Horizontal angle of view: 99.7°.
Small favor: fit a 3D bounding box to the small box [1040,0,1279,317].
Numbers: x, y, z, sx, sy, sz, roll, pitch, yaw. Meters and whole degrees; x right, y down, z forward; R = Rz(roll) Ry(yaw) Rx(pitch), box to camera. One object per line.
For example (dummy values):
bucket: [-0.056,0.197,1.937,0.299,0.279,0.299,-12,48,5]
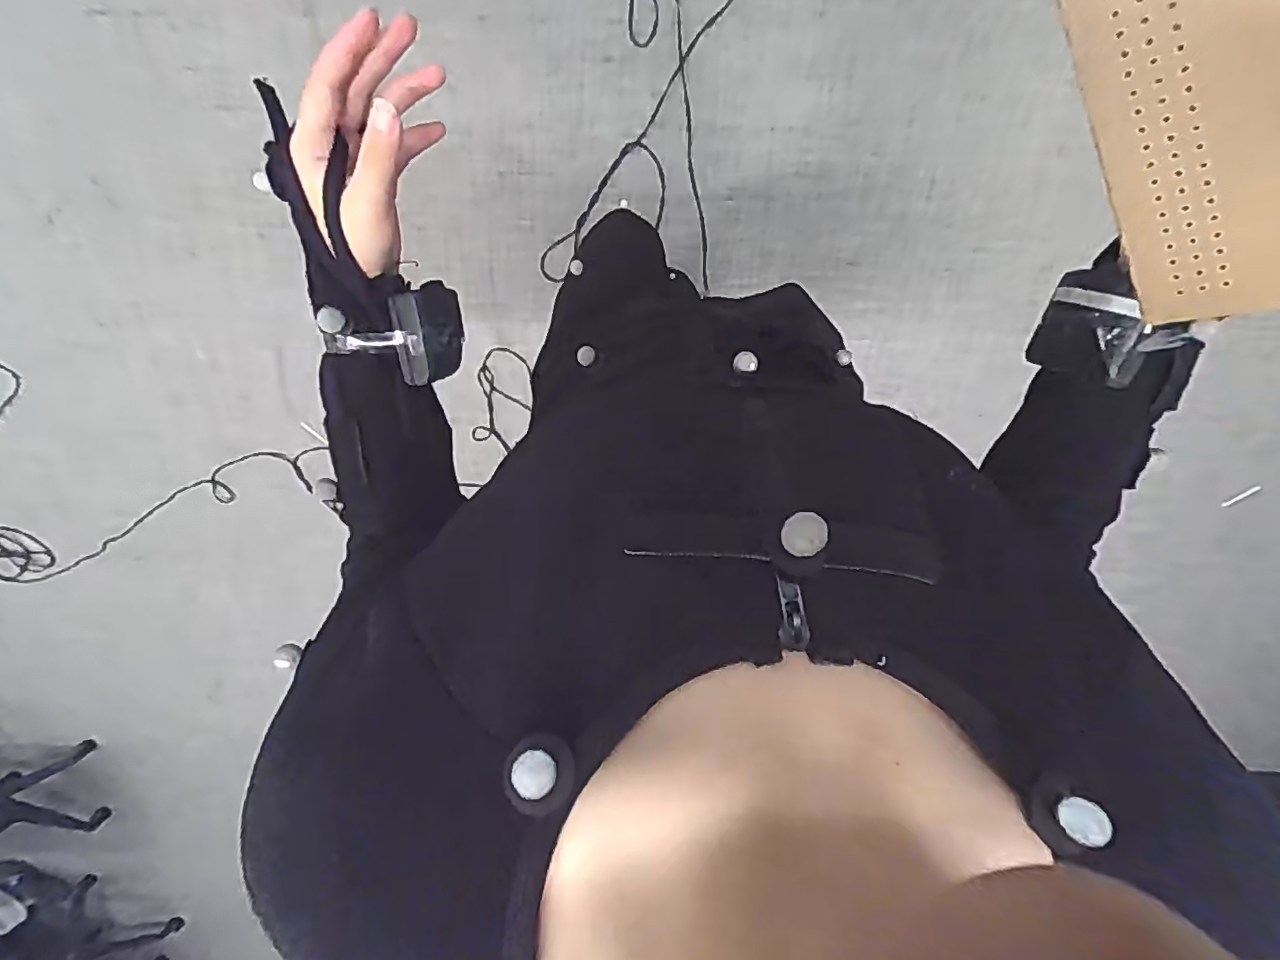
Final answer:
small box: [0.258,-0.176,0.159,0.168,0.176,0.179,-42,109,-16]
